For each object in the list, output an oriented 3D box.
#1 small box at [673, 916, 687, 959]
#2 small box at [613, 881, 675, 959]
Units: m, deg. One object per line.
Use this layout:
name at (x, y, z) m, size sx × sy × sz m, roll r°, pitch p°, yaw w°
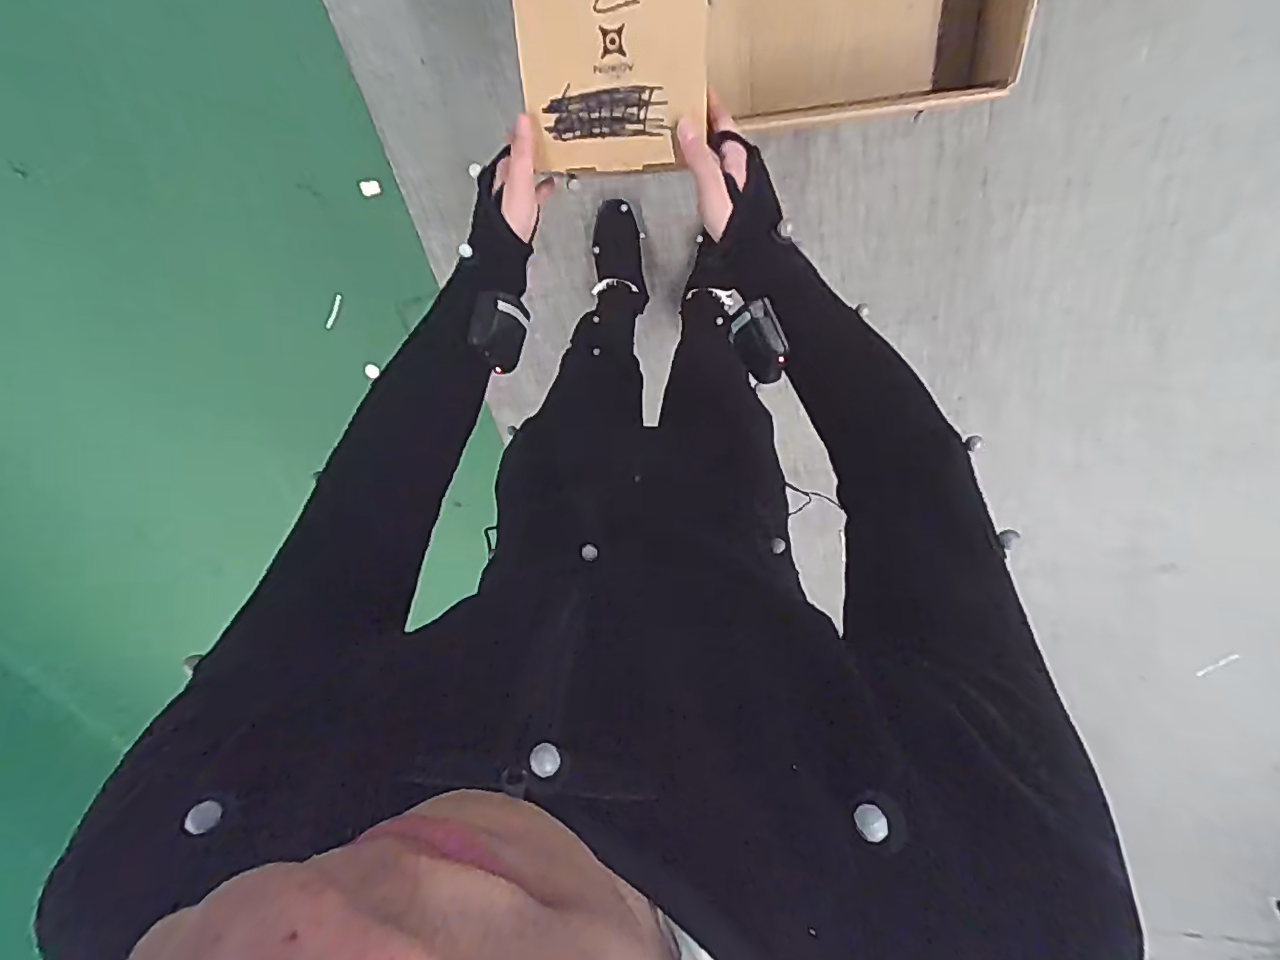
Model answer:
small box at (0.078, 1.702, 1.955) m, size 0.168 × 0.176 × 0.179 m, roll -7°, pitch 124°, yaw 11°
small box at (0.019, 1.455, 1.784) m, size 0.168 × 0.176 × 0.179 m, roll -9°, pitch 124°, yaw 11°
